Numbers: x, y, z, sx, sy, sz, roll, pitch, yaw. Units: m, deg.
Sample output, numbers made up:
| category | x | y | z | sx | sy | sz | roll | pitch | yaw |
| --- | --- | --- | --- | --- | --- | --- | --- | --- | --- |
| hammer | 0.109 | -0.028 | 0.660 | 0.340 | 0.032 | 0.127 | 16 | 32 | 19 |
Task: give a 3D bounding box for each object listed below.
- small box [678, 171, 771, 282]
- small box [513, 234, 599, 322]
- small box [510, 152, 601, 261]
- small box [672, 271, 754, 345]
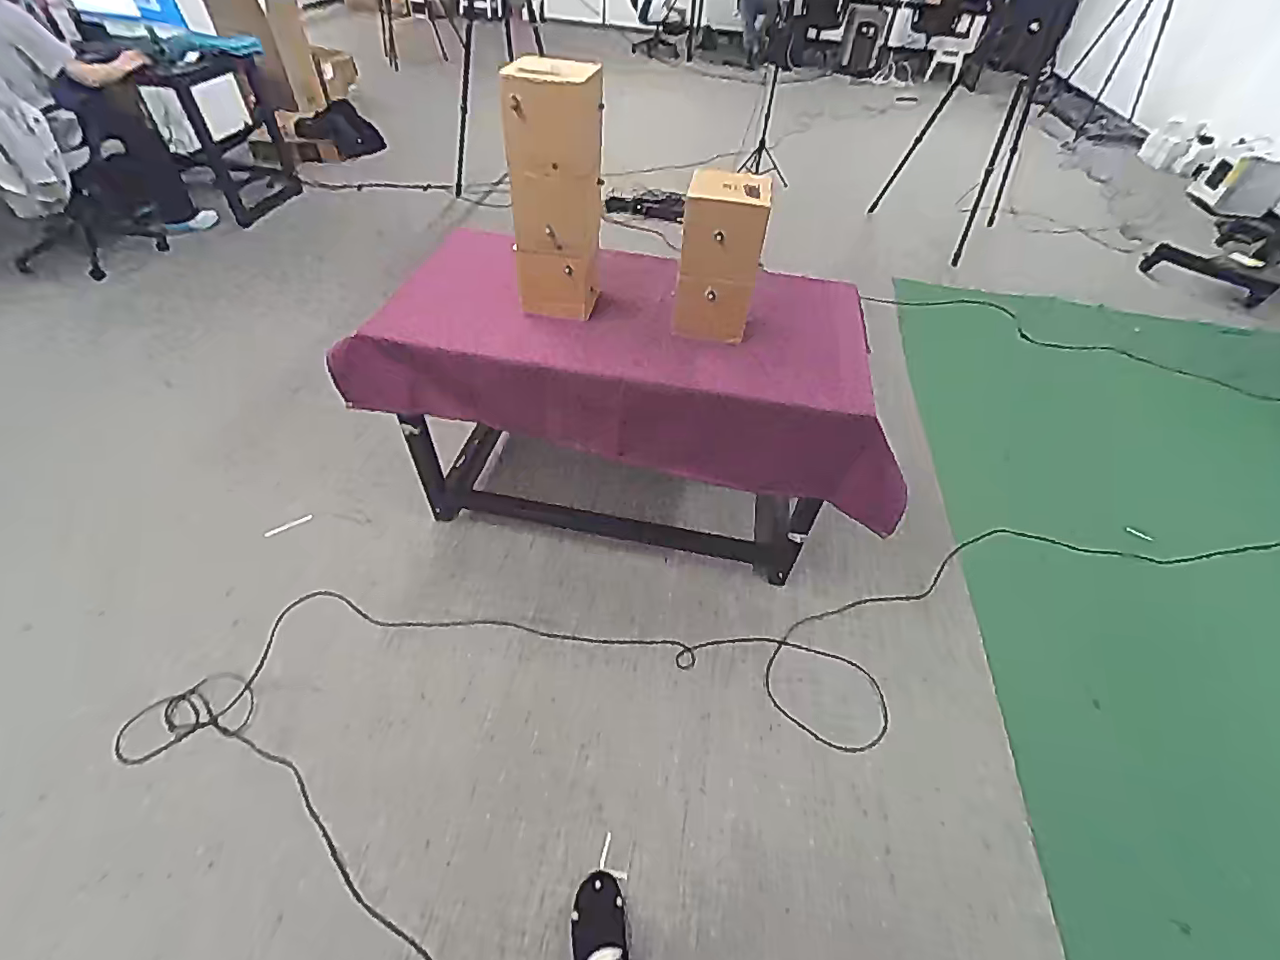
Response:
| category | x | y | z | sx | sy | sz | roll | pitch | yaw |
| --- | --- | --- | --- | --- | --- | --- | --- | --- | --- |
| small box | 0.186 | -0.563 | 1.208 | 0.179 | 0.176 | 0.168 | 9 | 48 | 5 |
| small box | -0.205 | -0.518 | 1.368 | 0.179 | 0.176 | 0.168 | 9 | 48 | 3 |
| small box | -0.189 | -0.632 | 1.249 | 0.168 | 0.176 | 0.179 | 8 | 47 | 4 |
| small box | 0.179 | -0.451 | 1.329 | 0.179 | 0.176 | 0.168 | 10 | 48 | 5 |
